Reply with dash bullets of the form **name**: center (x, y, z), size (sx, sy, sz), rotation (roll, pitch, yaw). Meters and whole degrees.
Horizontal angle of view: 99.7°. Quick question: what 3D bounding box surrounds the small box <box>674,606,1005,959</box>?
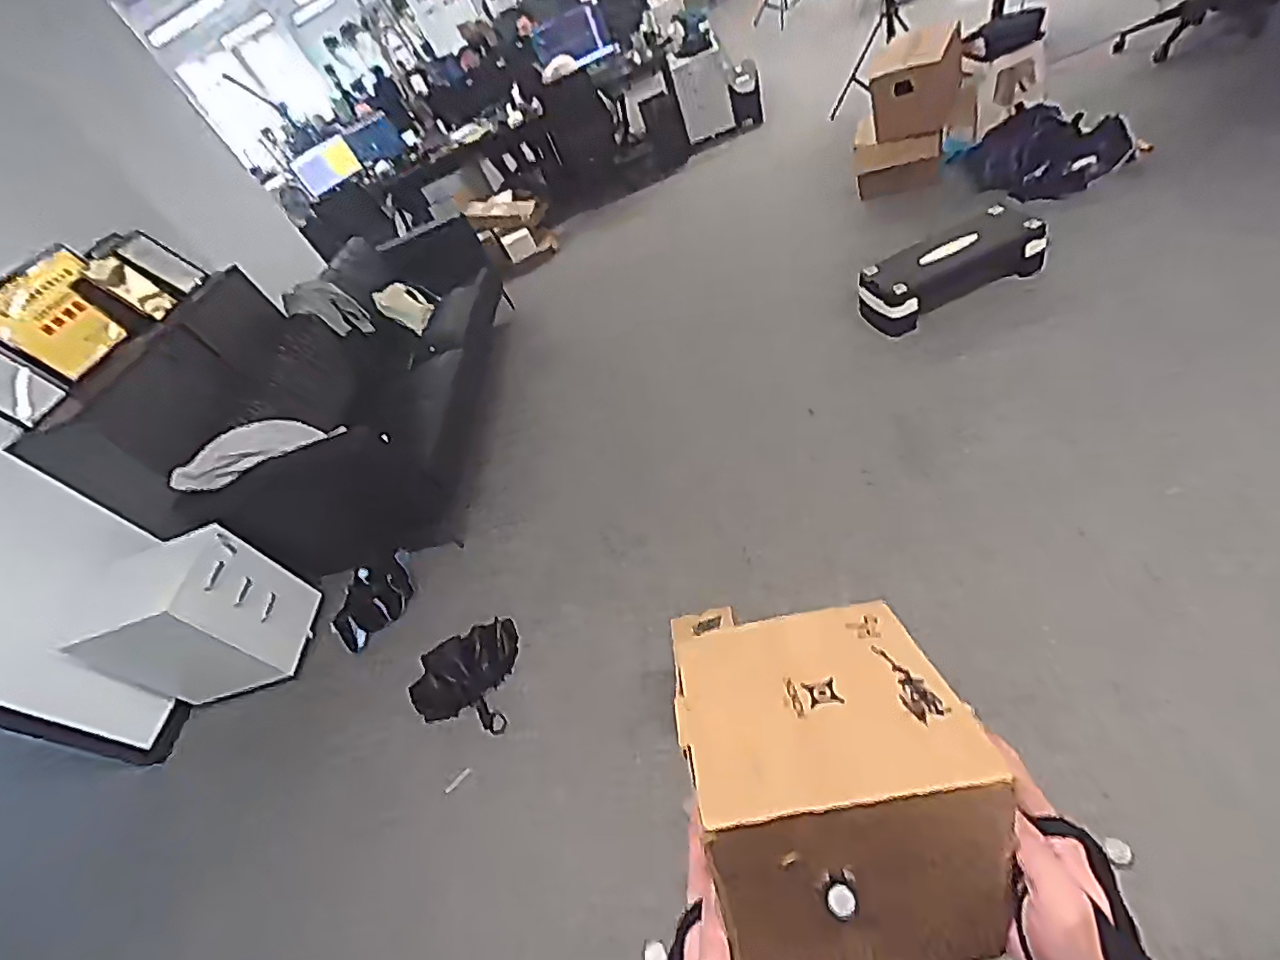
- **small box**: center (0.131, 0.223, 0.395), size (0.179, 0.176, 0.168), rotation (-12, 22, 3)

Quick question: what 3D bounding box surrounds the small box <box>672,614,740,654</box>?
- **small box**: center (0.191, 0.478, 1.400), size (0.168, 0.176, 0.179), rotation (-18, 45, 14)
